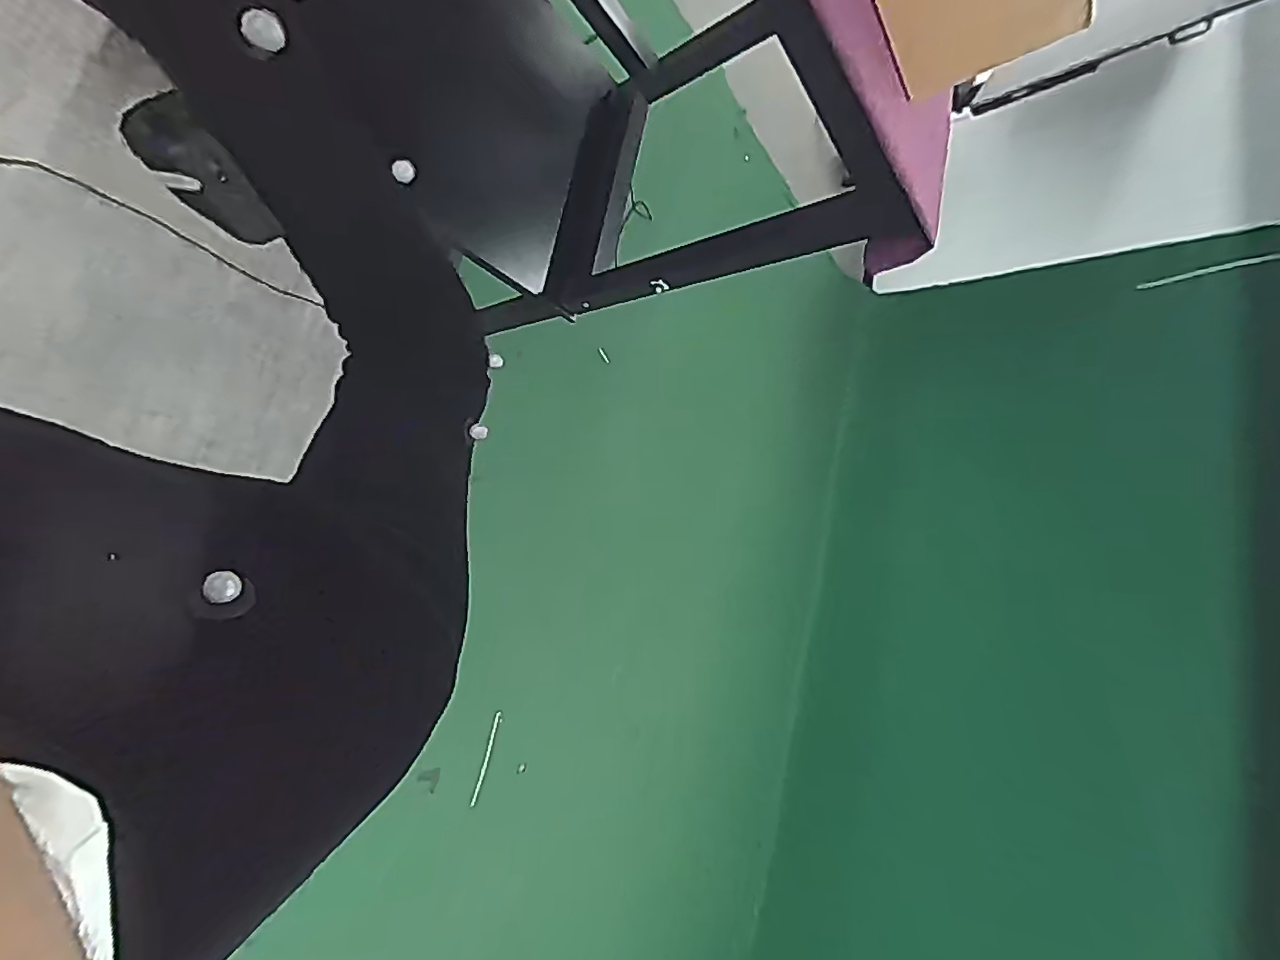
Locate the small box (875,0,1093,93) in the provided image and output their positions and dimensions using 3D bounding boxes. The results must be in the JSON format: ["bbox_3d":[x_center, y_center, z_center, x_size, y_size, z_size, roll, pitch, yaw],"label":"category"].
[{"bbox_3d":[0.337,-0.543,0.536,0.179,0.176,0.168,25,72,-46],"label":"small box"}]
